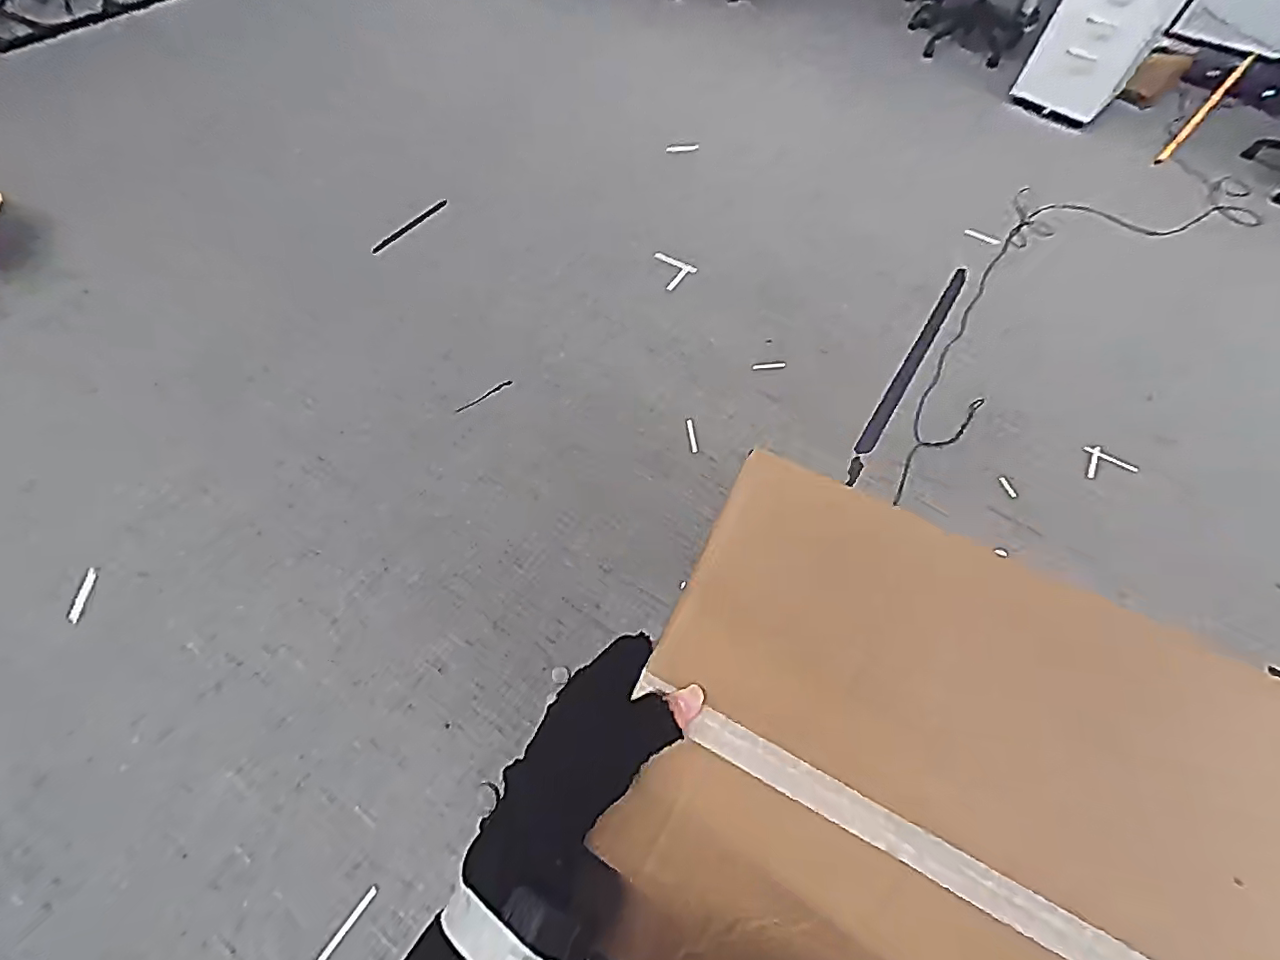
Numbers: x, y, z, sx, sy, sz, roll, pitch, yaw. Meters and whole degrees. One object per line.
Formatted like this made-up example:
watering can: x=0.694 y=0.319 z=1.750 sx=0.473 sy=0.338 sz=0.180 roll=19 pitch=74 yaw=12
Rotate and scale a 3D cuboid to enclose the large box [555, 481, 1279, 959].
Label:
large box: x=0.214 y=0.219 z=0.439 sx=0.408 sy=0.320 sz=0.320 roll=25 pitch=94 yaw=13
